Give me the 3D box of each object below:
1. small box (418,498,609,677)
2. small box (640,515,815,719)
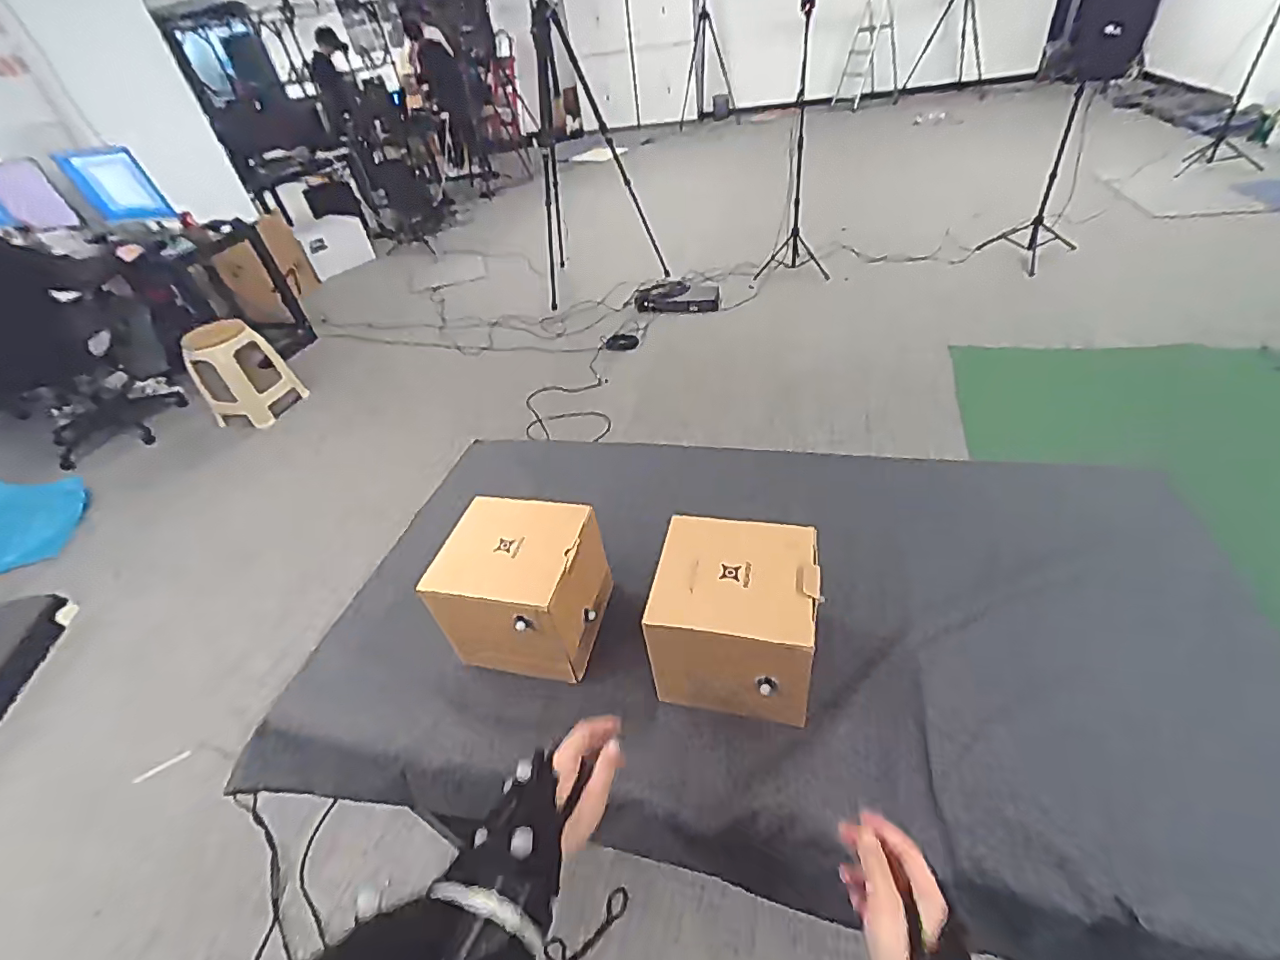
[{"bbox_3d":[-0.155,0.144,0.732,0.179,0.176,0.168,4,42,15],"label":"small box"},{"bbox_3d":[0.114,0.163,0.651,0.179,0.176,0.168,2,40,16],"label":"small box"}]
